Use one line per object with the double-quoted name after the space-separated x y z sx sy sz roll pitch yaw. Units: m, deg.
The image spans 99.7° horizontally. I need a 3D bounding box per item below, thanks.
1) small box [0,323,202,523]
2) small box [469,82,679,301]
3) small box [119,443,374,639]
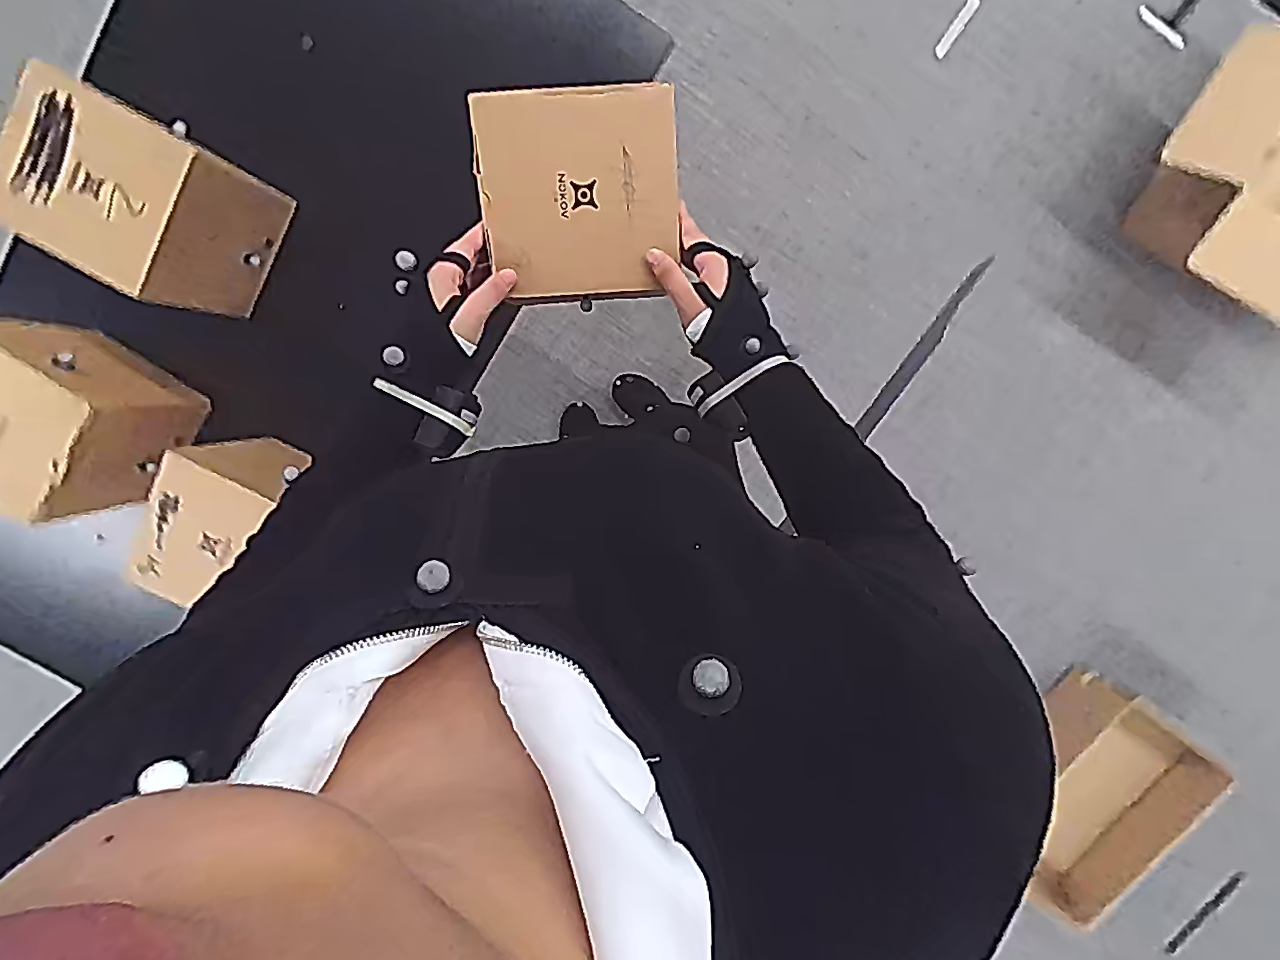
-0.708 -0.074 0.662 0.179 0.176 0.168 33 98 -5 "small box"
-0.057 -0.275 0.552 0.179 0.176 0.168 -4 107 -2 "small box"
-0.475 0.063 0.682 0.179 0.176 0.168 26 98 -4 "small box"
